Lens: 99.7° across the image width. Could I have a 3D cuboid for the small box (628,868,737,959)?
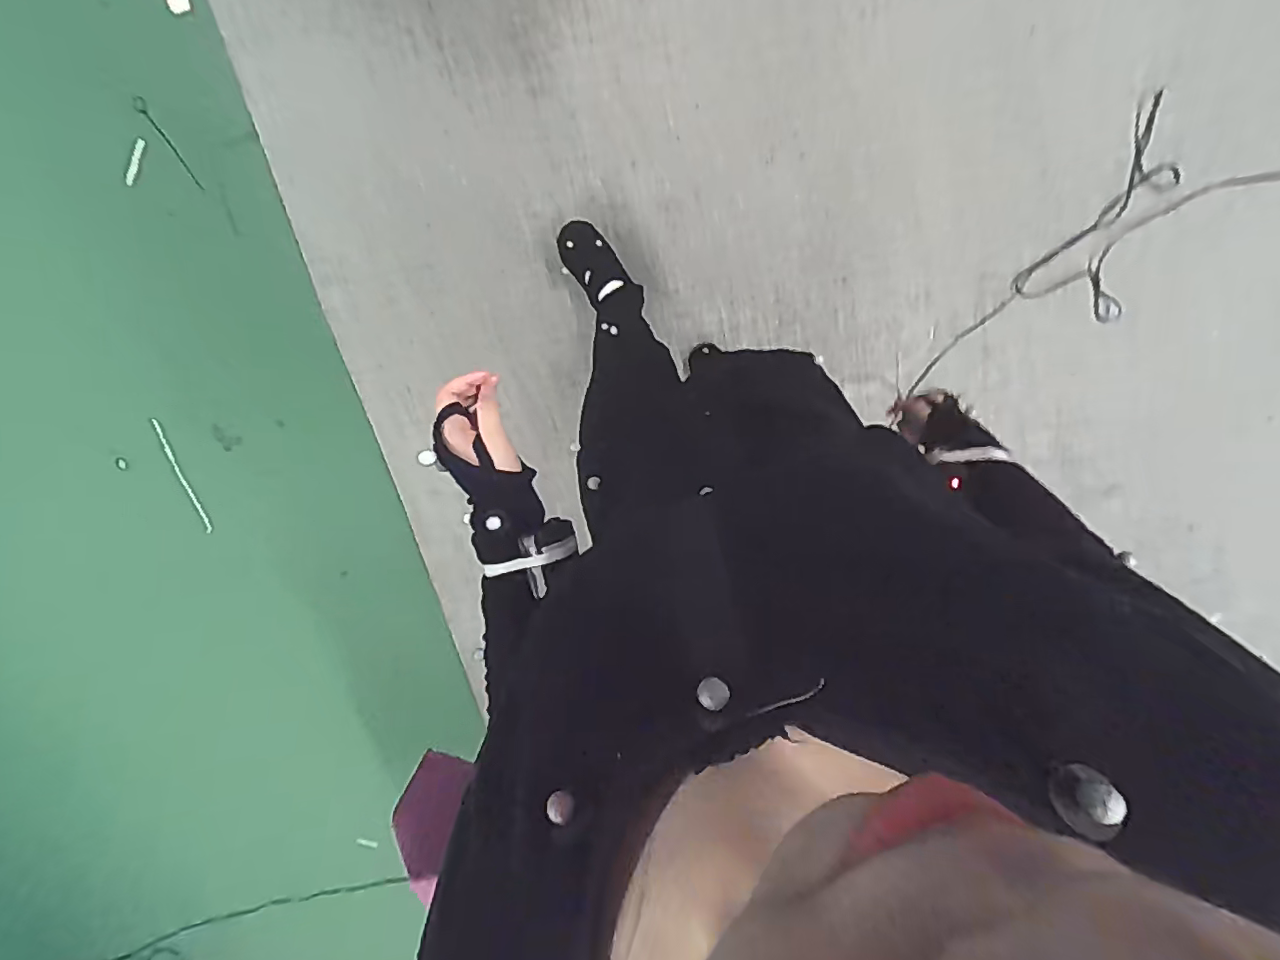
[{"bbox_3d":[0.079,0.832,0.969,0.179,0.176,0.168,-10,109,9],"label":"small box"}]
